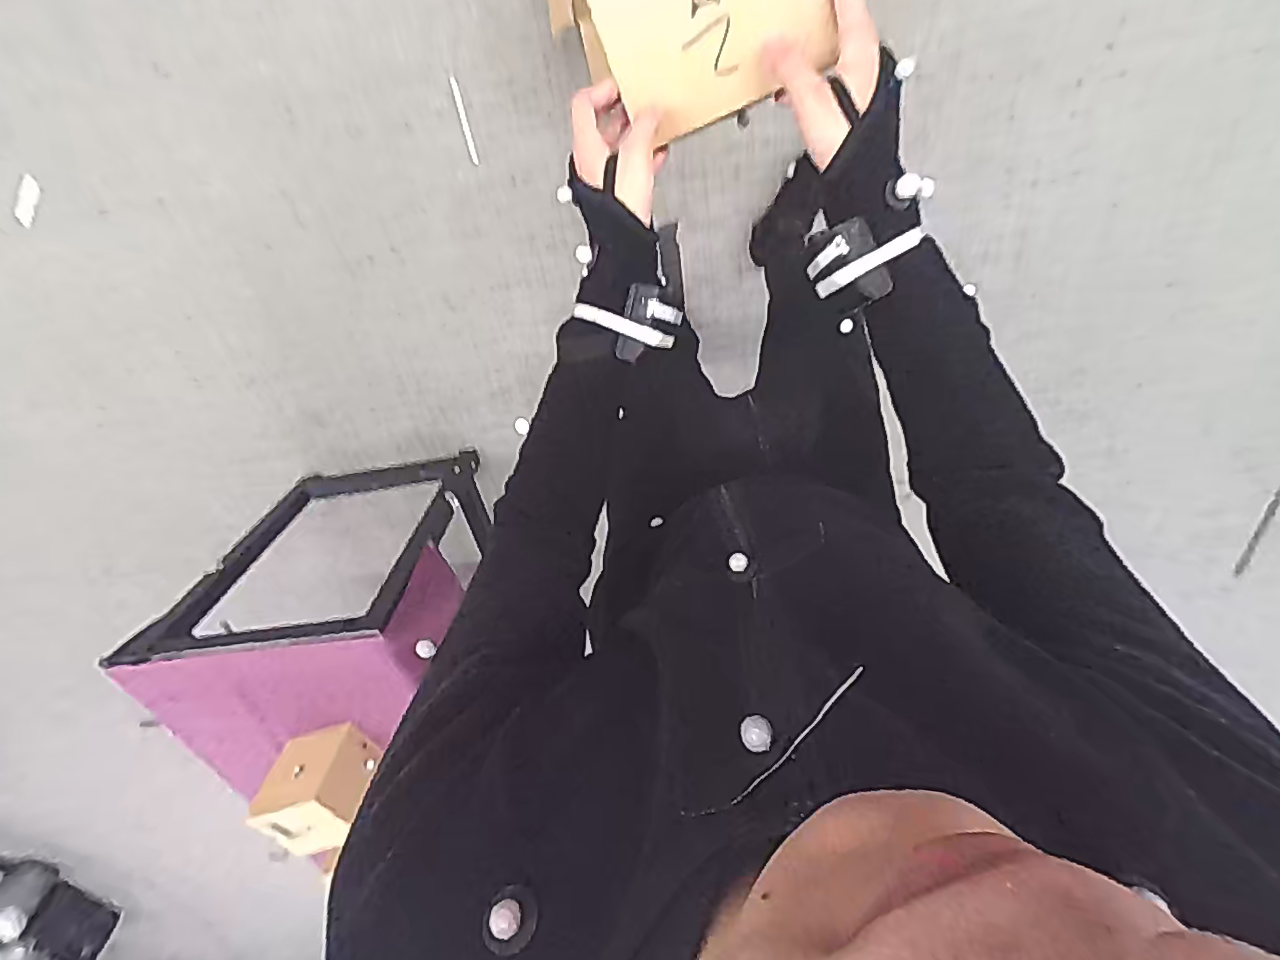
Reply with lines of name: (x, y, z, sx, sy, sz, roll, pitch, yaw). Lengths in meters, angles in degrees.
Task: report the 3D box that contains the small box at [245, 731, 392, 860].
small box: (-0.676, 0.674, 1.162, 0.179, 0.176, 0.168, -20, 120, 11)
